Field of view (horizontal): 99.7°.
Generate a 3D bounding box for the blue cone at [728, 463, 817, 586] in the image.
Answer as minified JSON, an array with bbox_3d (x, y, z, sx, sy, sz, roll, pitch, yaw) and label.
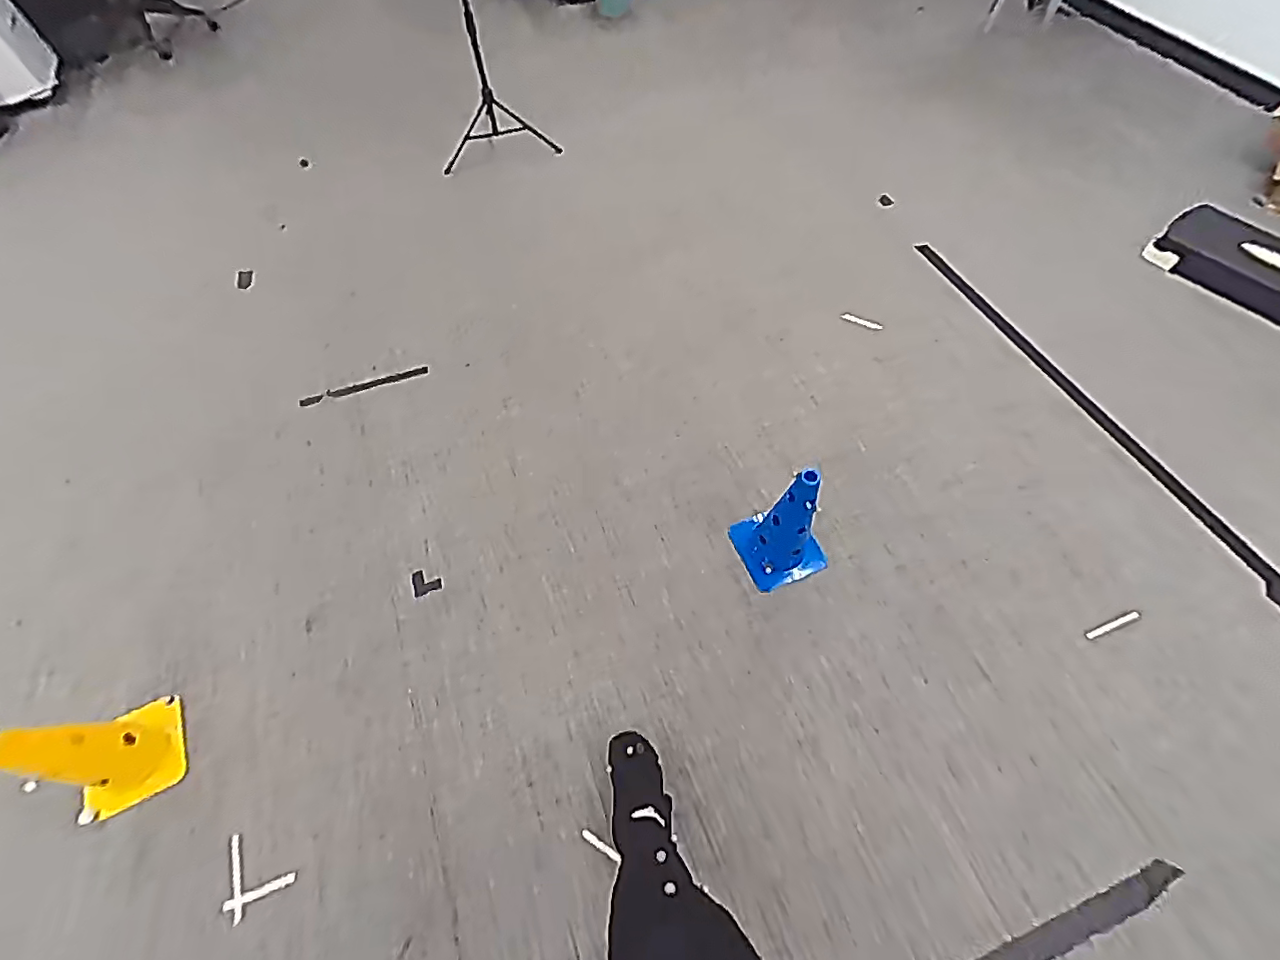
[{"bbox_3d":[0.339,0.086,1.260,0.193,0.380,0.192,-19,59,-9],"label":"blue cone"}]
